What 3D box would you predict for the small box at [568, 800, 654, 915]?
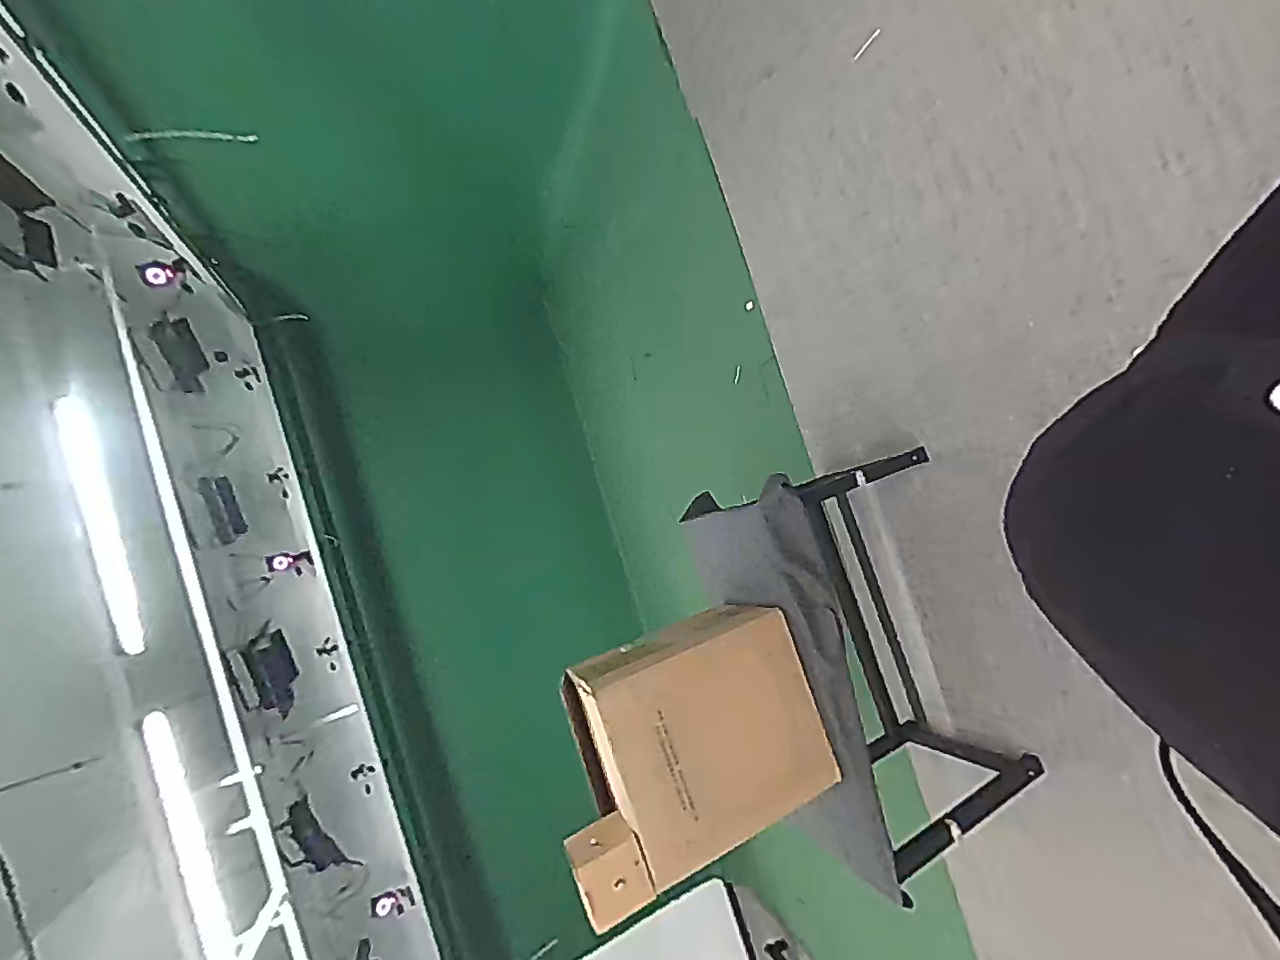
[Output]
[{"bbox_3d":[-0.077,1.009,1.467,0.168,0.176,0.179,70,159,4],"label":"small box"}]
